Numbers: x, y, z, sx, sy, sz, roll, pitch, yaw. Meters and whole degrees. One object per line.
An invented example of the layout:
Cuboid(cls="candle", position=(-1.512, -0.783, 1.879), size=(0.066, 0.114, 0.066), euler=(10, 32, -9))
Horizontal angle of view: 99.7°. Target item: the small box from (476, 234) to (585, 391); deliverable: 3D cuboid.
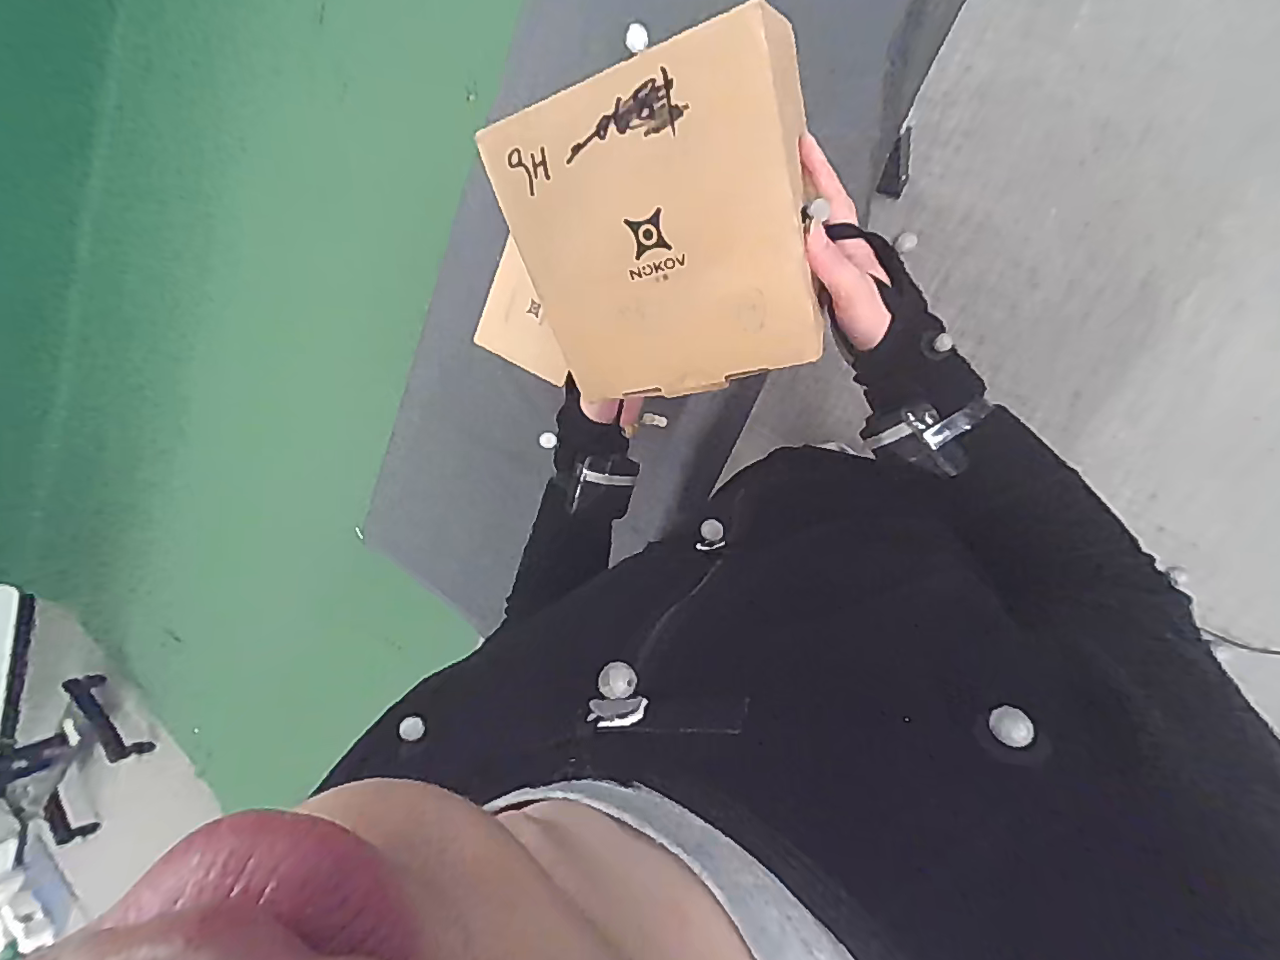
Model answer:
Cuboid(cls="small box", position=(-0.107, -0.240, 0.822), size=(0.179, 0.176, 0.168), euler=(29, 103, 21))

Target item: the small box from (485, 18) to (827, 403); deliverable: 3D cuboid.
Cuboid(cls="small box", position=(0.034, -0.178, 0.374), size=(0.168, 0.176, 0.179), euler=(-6, 124, 23))
